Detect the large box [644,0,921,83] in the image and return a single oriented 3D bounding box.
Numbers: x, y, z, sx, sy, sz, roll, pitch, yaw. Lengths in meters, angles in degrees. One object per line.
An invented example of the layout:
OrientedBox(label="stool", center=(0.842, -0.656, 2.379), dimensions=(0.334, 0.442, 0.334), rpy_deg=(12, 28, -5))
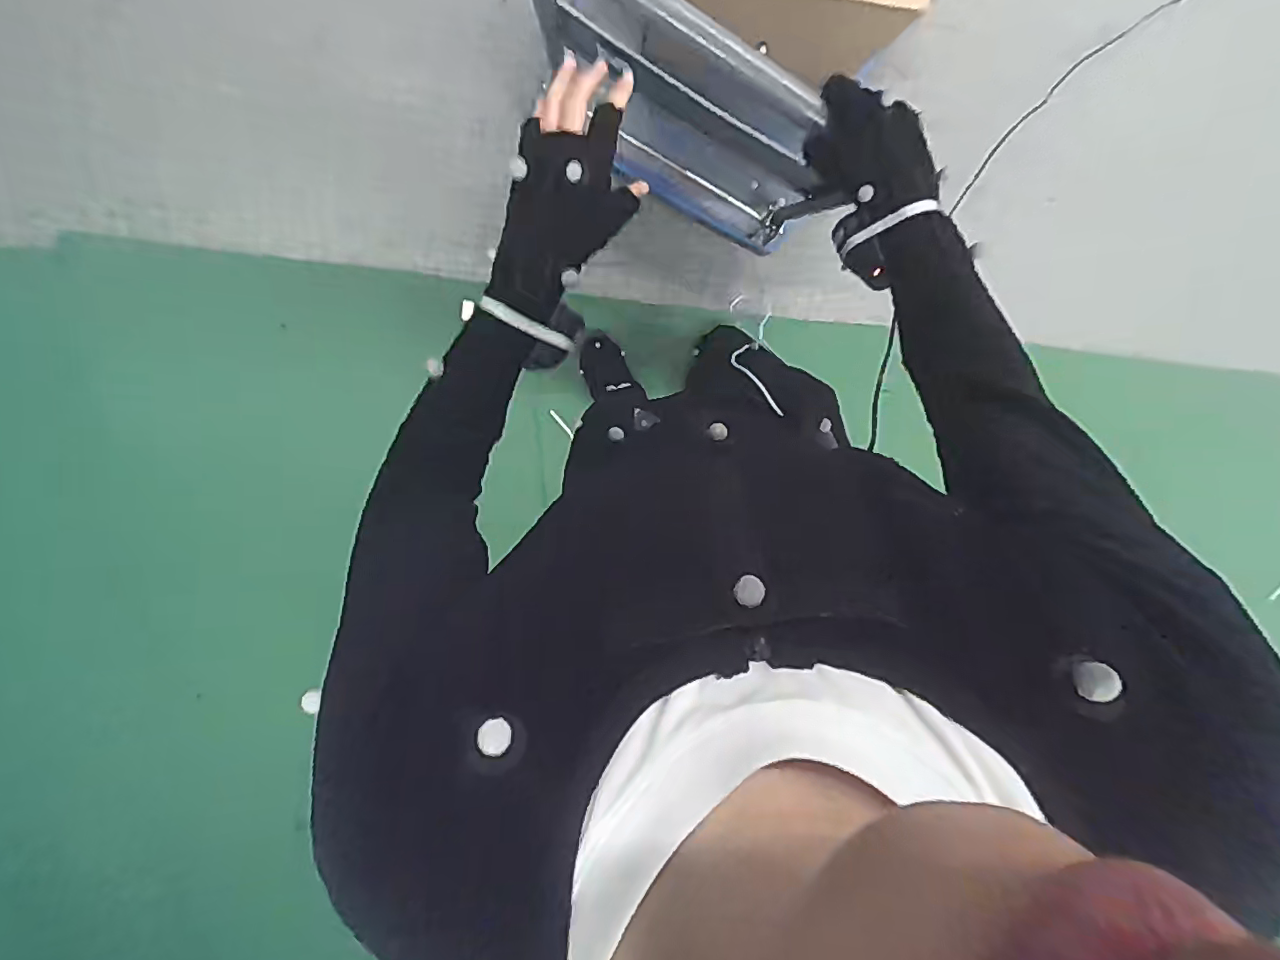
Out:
OrientedBox(label="large box", center=(0.227, -0.900, 0.886), dimensions=(0.408, 0.320, 0.320), rpy_deg=(4, 108, -5))
